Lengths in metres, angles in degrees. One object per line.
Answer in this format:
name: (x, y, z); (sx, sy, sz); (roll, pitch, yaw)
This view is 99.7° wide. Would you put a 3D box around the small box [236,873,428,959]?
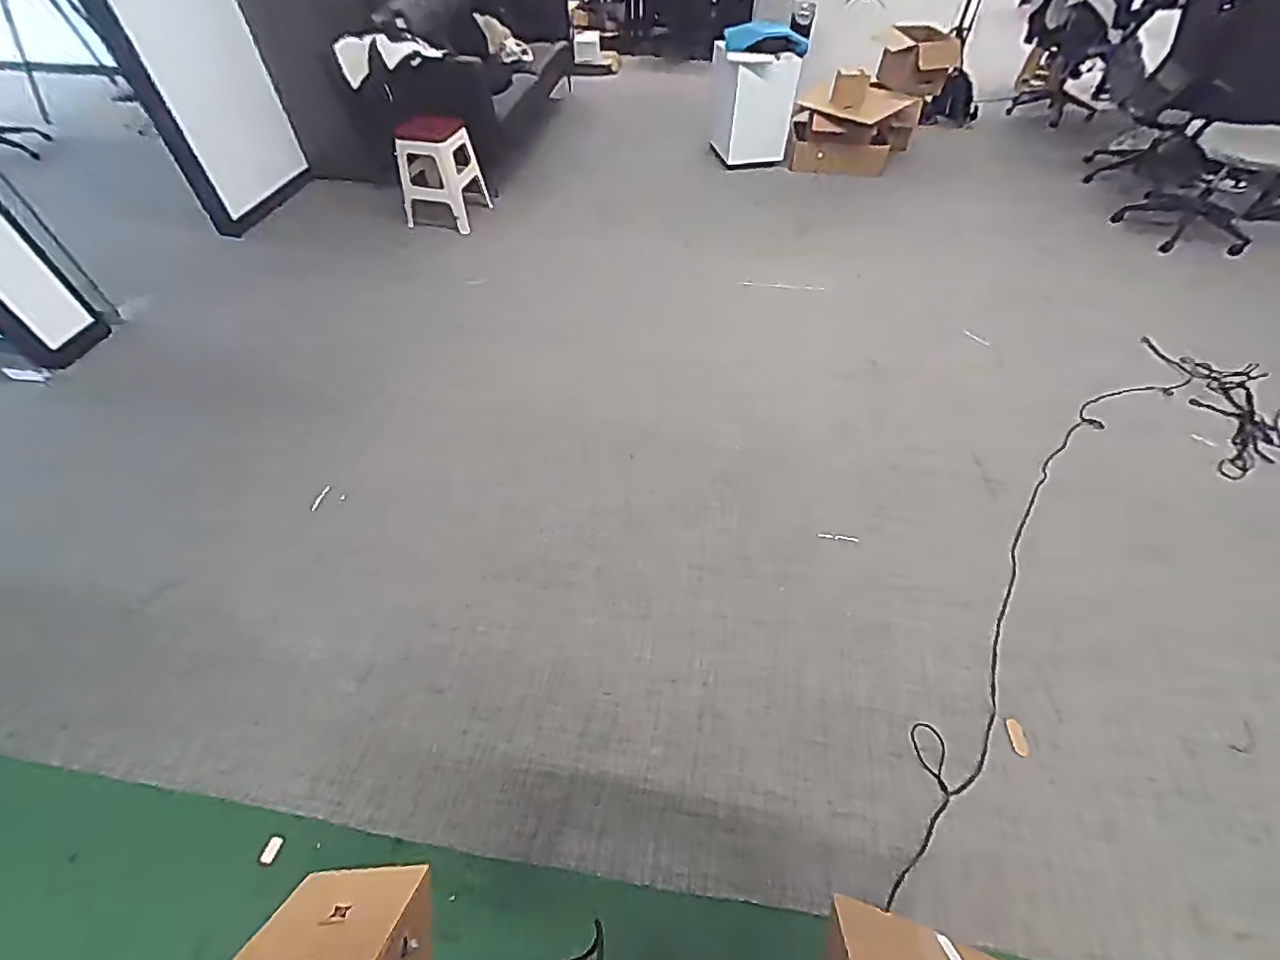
small box: (-0.372, 0.624, 0.658); (0.168, 0.179, 0.176); (-3, 85, -2)
